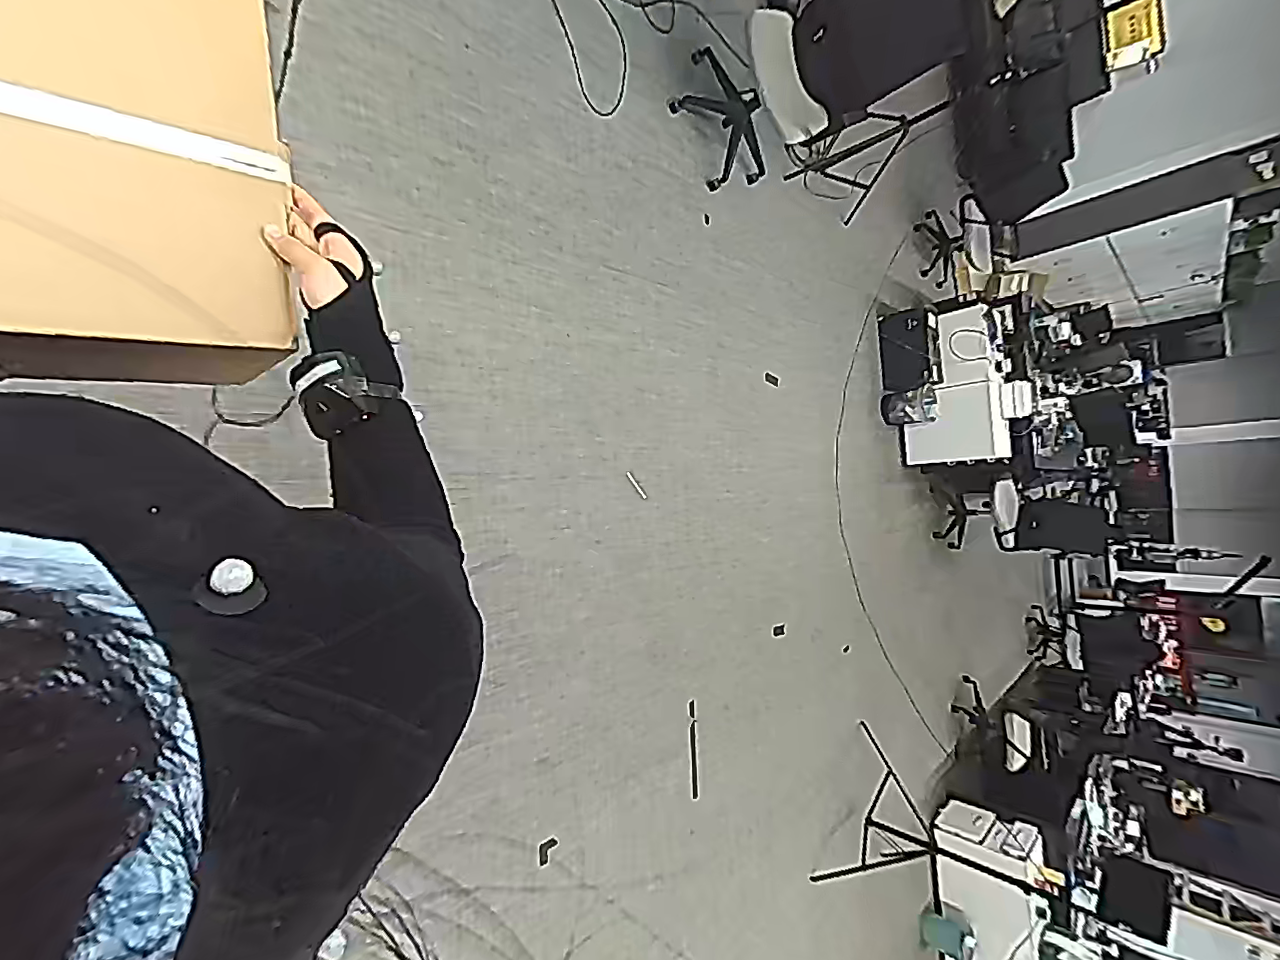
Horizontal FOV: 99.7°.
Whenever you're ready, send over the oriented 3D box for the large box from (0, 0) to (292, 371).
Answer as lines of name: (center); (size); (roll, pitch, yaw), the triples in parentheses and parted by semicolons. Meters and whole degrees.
large box: (-0.578, -0.267, 0.463); (0.408, 0.320, 0.320); (-8, 96, -44)
